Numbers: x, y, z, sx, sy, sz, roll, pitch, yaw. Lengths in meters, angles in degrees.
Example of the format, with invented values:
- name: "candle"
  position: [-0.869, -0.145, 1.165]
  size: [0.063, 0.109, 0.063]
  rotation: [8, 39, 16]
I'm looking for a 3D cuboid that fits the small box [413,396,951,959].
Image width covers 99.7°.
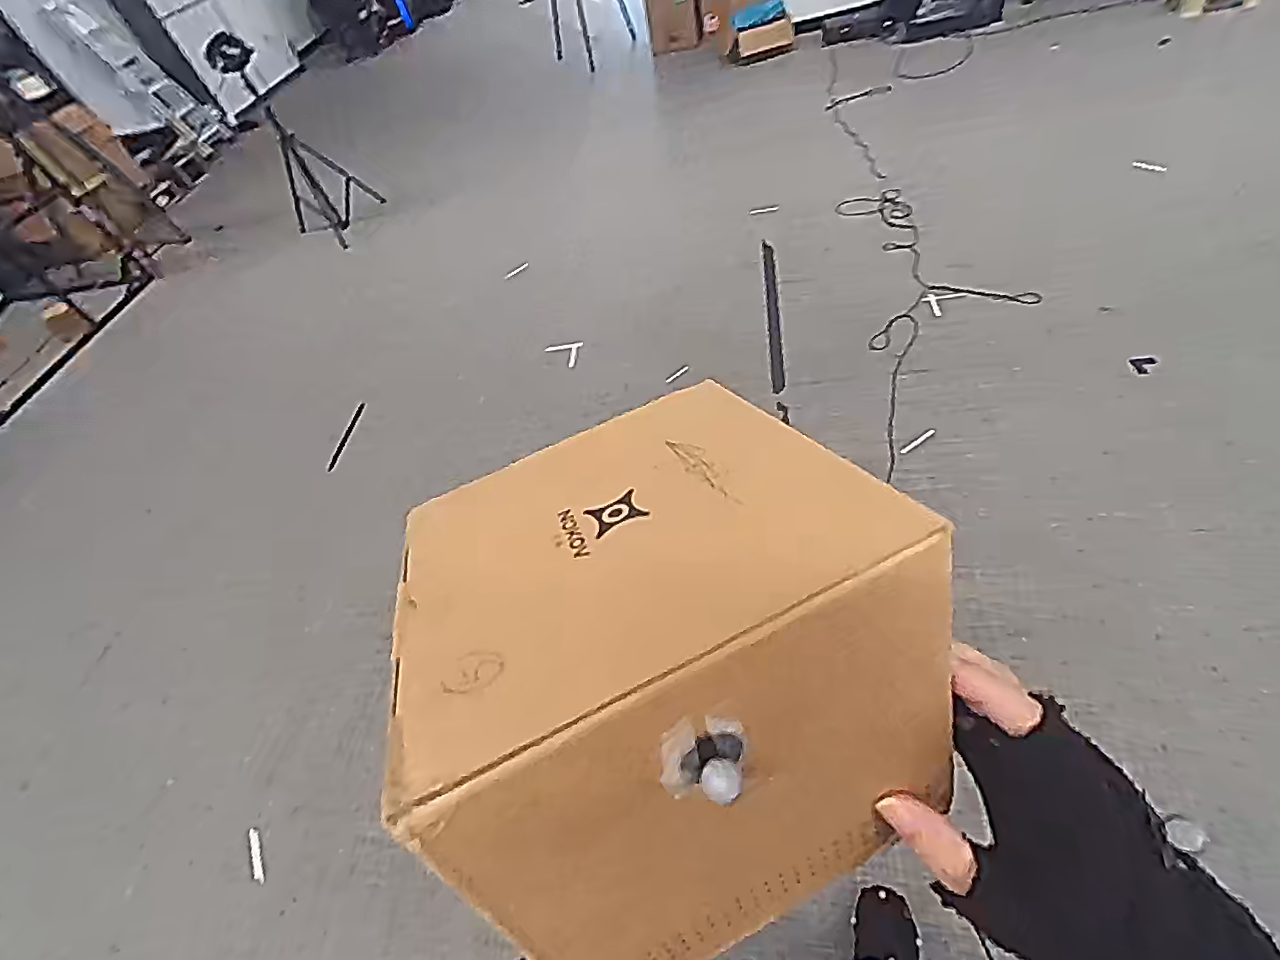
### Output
- name: "small box"
  position: [0.020, 0.088, 0.258]
  size: [0.179, 0.176, 0.168]
  rotation: [-24, 30, -8]
